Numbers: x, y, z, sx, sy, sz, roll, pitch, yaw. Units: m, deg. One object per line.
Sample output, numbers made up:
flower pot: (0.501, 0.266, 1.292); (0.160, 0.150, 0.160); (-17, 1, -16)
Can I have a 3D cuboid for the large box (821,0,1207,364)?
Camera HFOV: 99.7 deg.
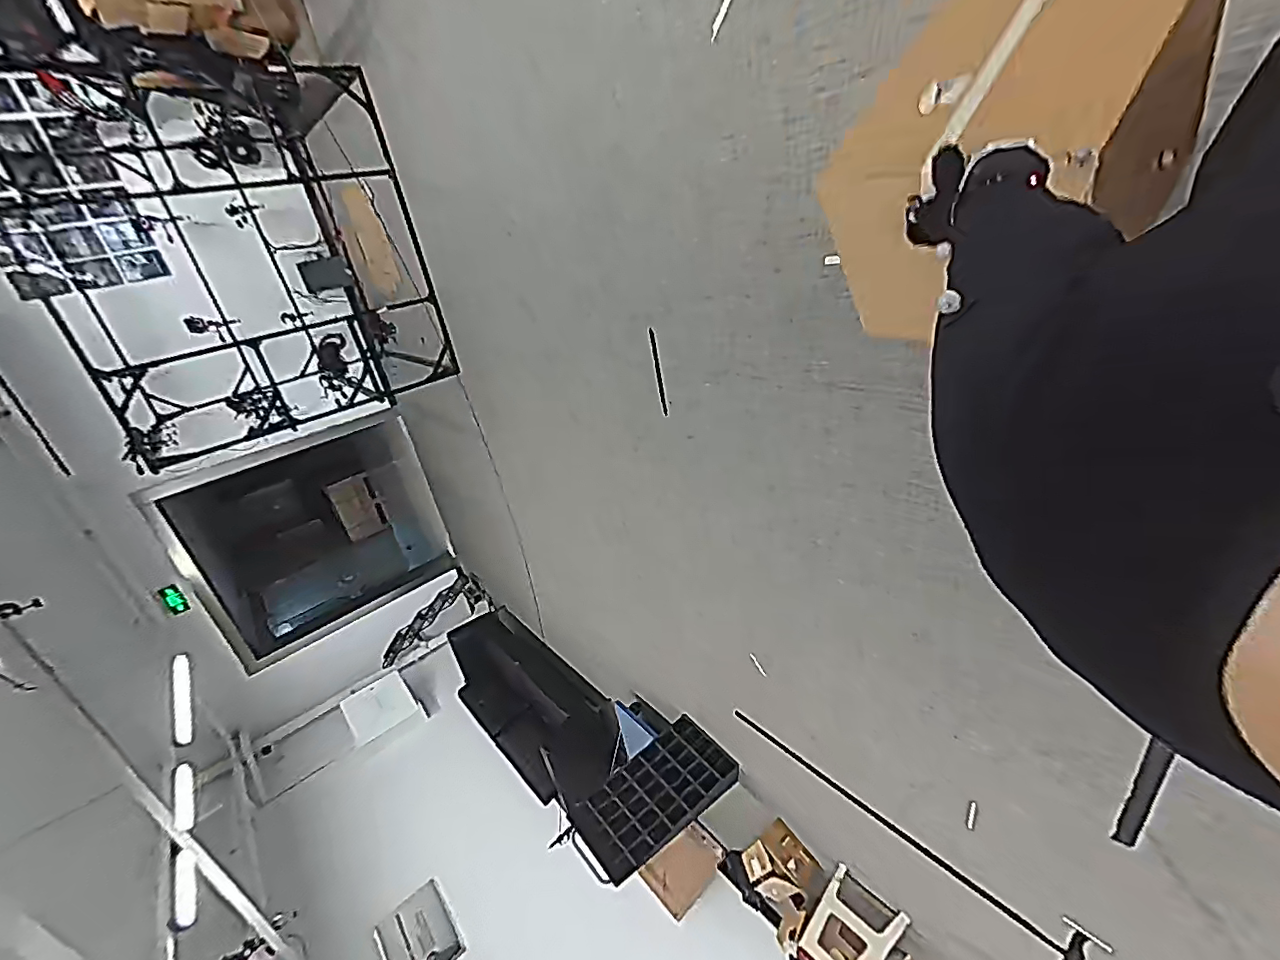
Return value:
large box: (0.532, -0.437, 0.783); (0.320, 0.408, 0.320); (24, 166, 46)
